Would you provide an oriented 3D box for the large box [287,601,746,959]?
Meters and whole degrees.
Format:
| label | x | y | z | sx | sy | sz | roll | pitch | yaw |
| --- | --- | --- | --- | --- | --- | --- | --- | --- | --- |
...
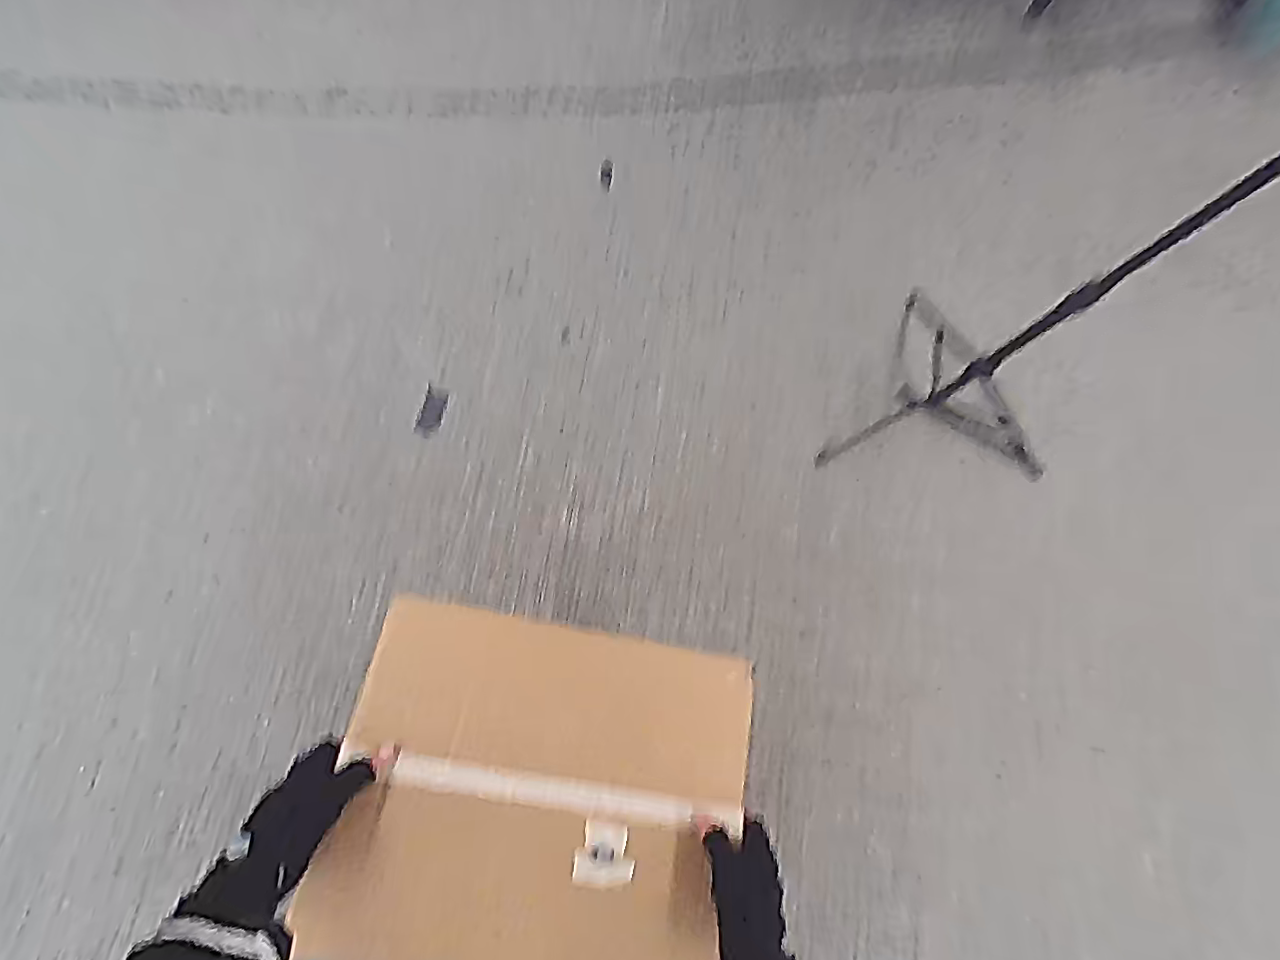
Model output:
| label | x | y | z | sx | sy | sz | roll | pitch | yaw |
| --- | --- | --- | --- | --- | --- | --- | --- | --- | --- |
| large box | -0.119 | 0.360 | 0.679 | 0.408 | 0.320 | 0.320 | 12 | 68 | -6 |
